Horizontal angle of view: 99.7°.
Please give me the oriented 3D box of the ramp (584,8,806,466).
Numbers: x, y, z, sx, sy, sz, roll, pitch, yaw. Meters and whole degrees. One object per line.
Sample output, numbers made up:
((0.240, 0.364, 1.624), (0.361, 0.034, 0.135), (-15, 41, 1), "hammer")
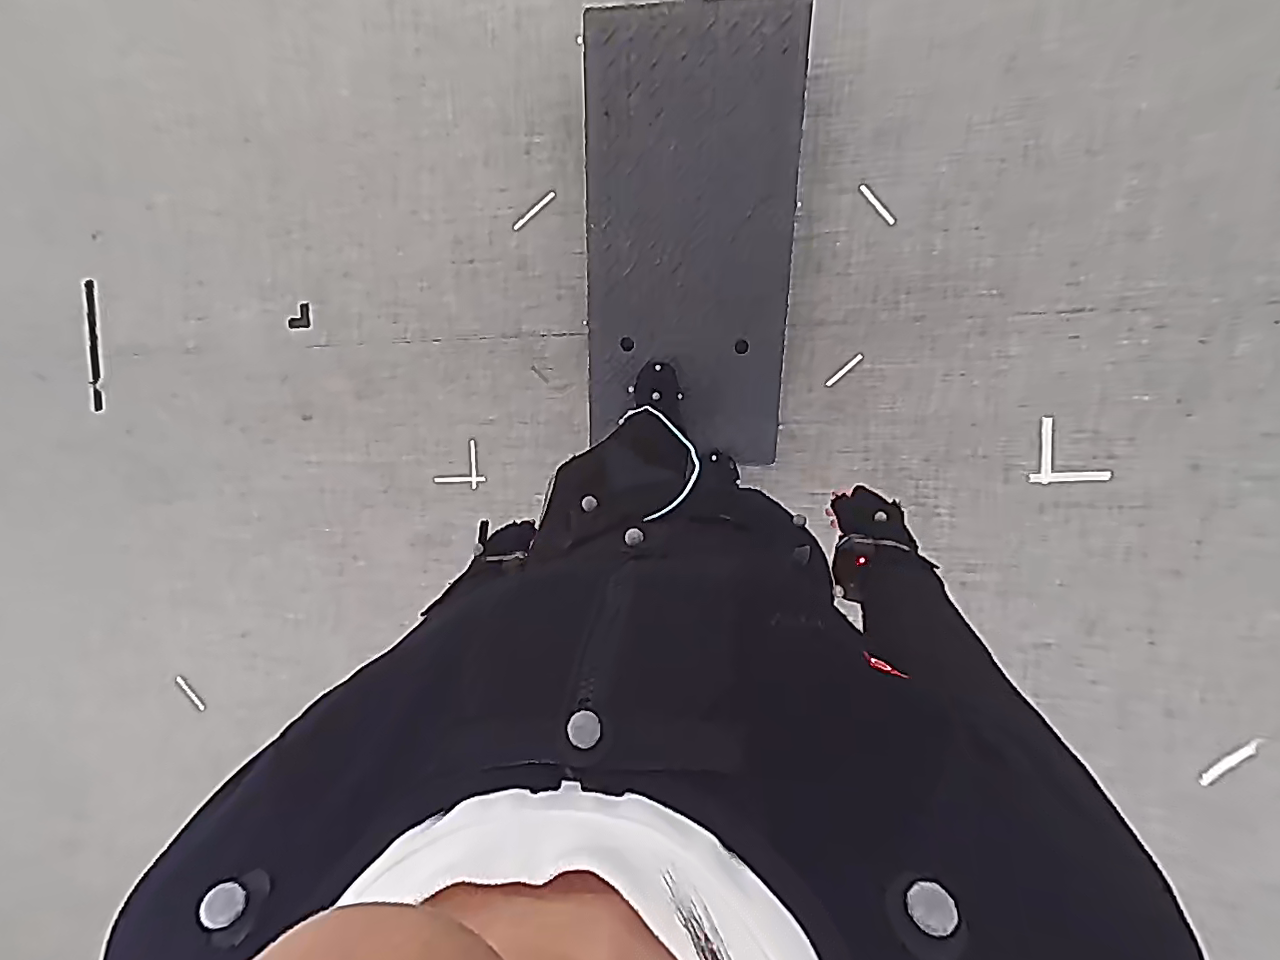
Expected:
((0.125, -0.522, 1.311), (0.509, 0.206, 0.991), (0, 95, 9), "ramp")
